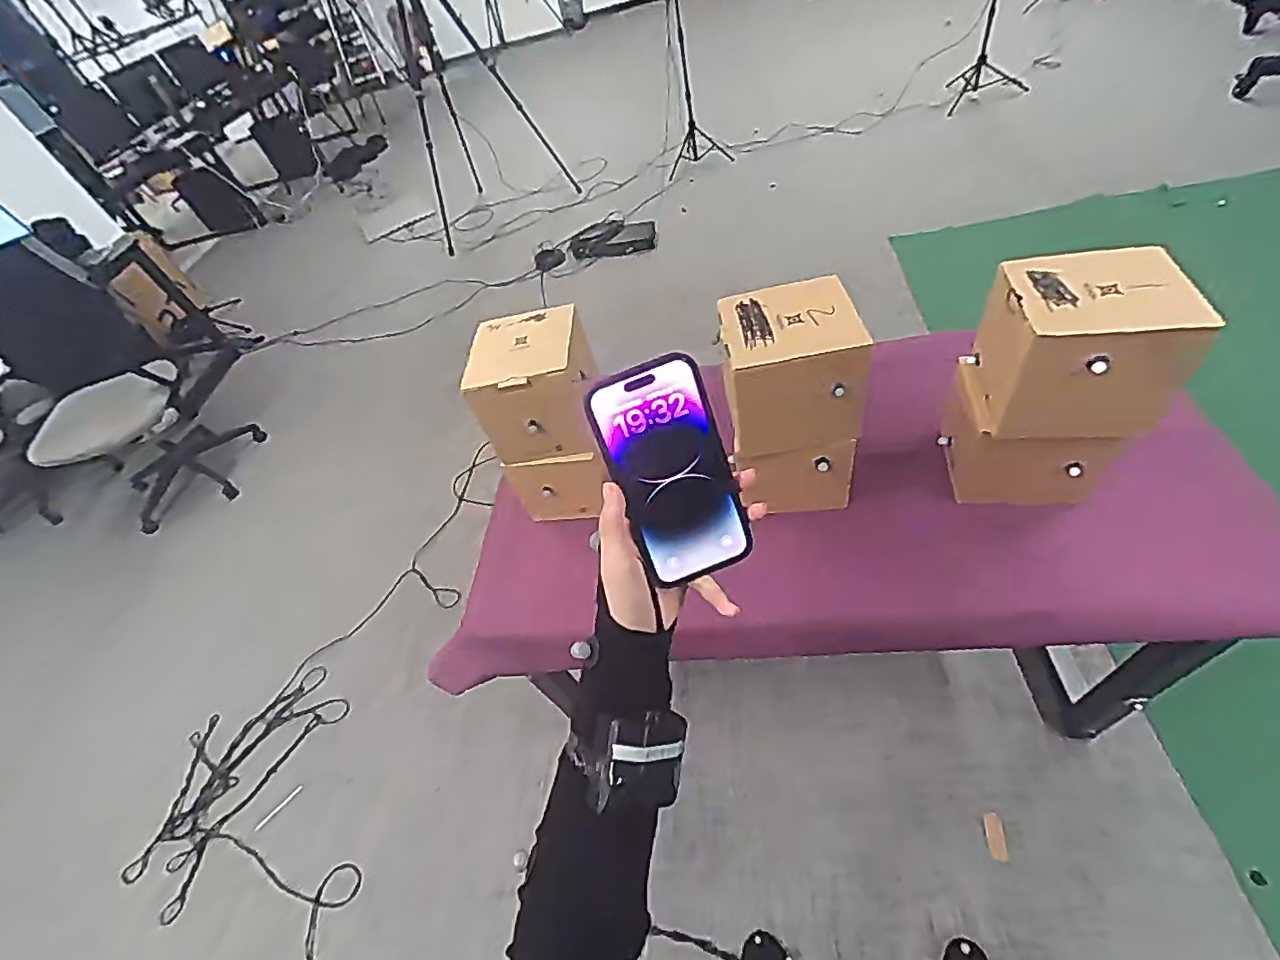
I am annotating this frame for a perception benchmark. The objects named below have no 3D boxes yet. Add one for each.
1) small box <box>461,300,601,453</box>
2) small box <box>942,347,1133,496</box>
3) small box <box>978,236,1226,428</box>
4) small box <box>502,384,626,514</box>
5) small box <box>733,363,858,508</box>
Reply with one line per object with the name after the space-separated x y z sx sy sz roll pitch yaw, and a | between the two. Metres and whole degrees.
-0.164 -0.158 0.879 0.168 0.176 0.179 -8 50 9 | small box
0.581 -0.088 0.819 0.179 0.176 0.168 0 50 17 | small box
0.552 -0.179 0.686 0.179 0.176 0.168 0 51 16 | small box
-0.128 -0.049 0.996 0.168 0.176 0.179 -5 50 13 | small box
0.250 -0.068 0.899 0.179 0.176 0.168 -5 50 12 | small box
